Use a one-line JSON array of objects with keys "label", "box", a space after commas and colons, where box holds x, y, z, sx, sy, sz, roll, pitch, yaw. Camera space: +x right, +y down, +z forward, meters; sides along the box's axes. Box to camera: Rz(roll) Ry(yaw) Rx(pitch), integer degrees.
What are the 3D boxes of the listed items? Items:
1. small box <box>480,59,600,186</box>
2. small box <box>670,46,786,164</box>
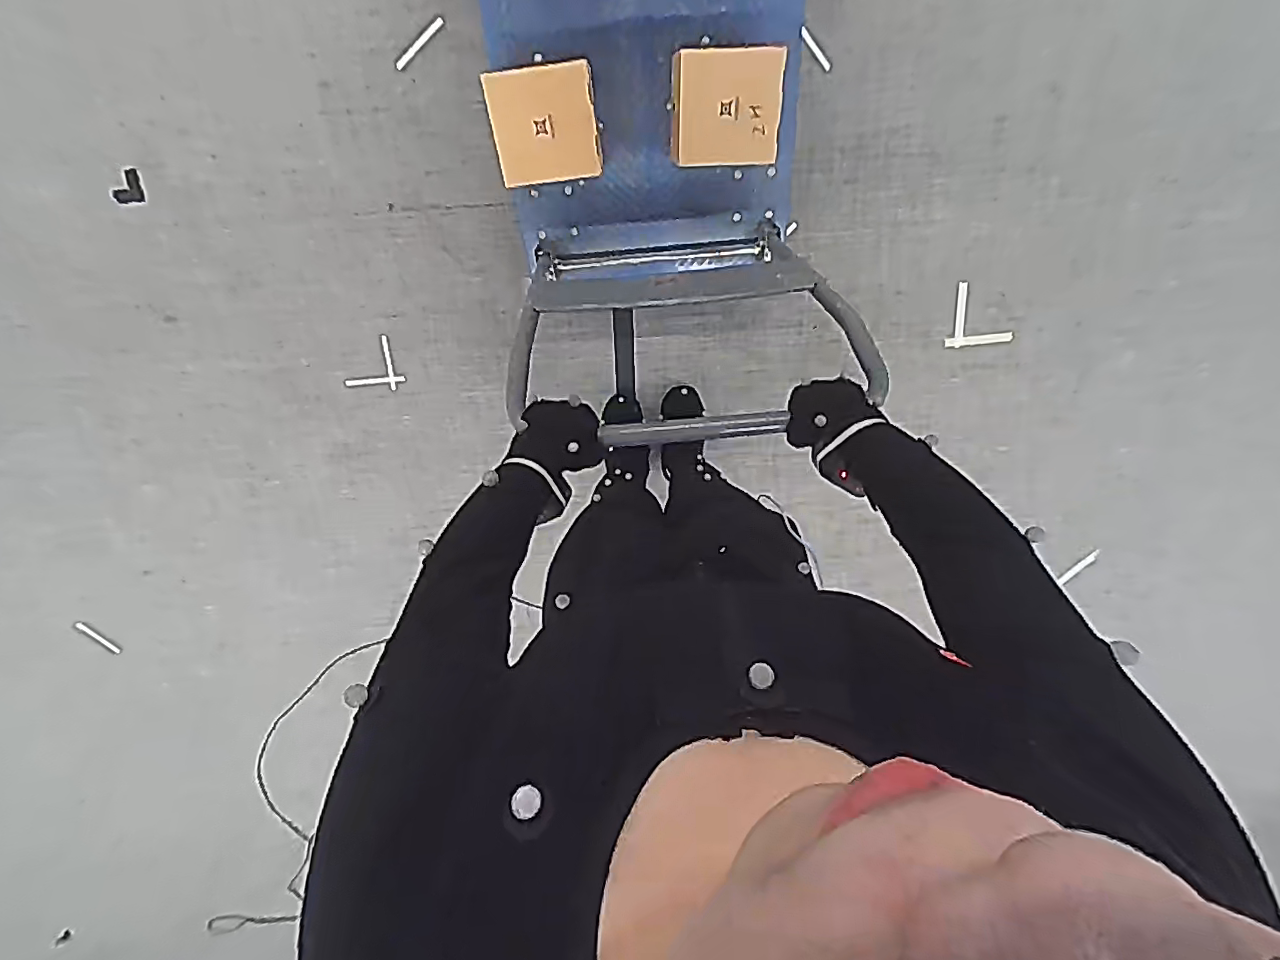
[{"label": "small box", "box": [-0.169, -0.640, 0.976, 0.179, 0.176, 0.168, -8, 124, 0]}, {"label": "small box", "box": [0.146, -0.670, 0.974, 0.179, 0.176, 0.168, -3, 125, -2]}]
